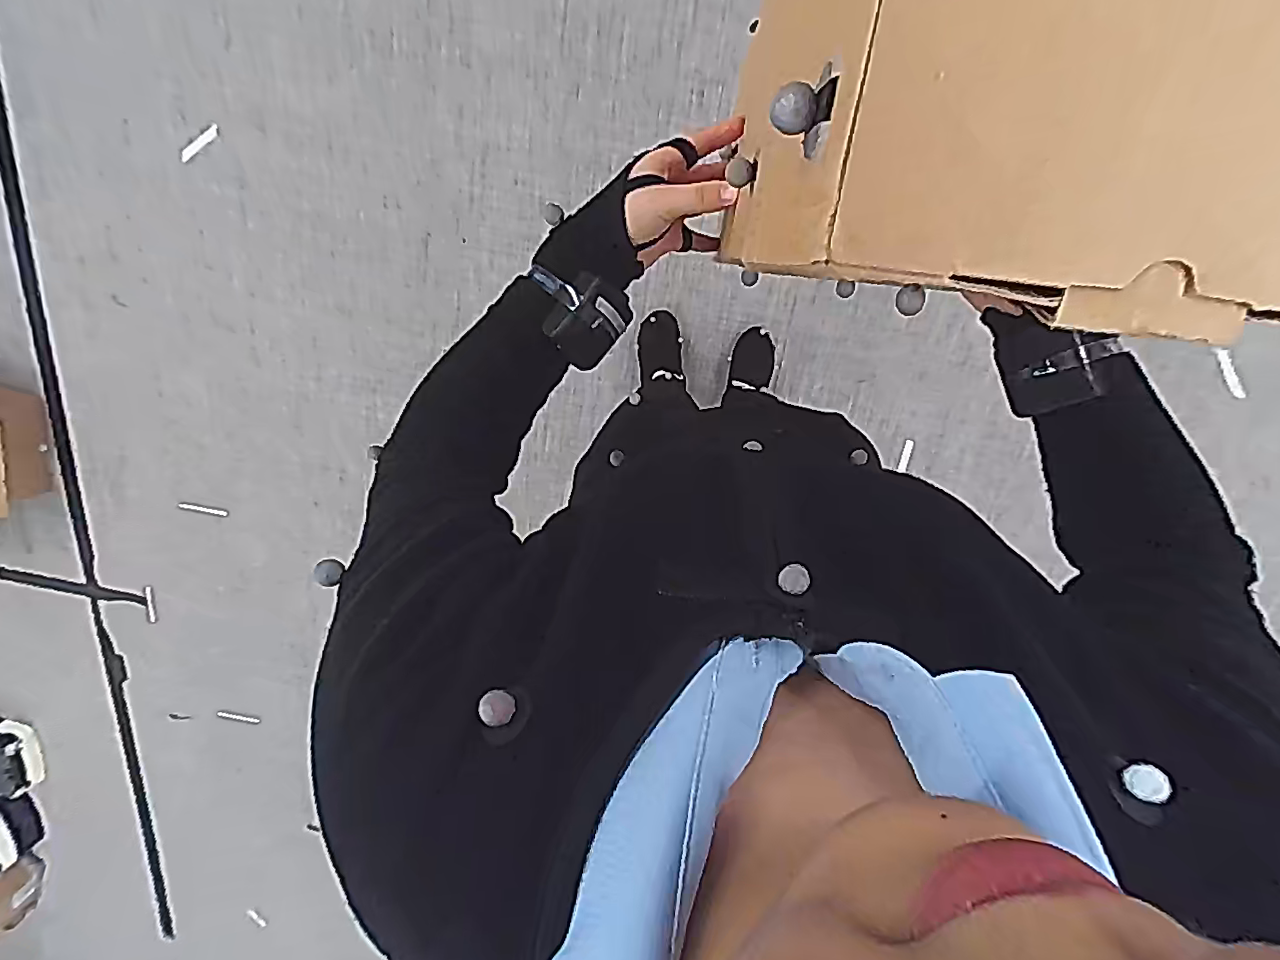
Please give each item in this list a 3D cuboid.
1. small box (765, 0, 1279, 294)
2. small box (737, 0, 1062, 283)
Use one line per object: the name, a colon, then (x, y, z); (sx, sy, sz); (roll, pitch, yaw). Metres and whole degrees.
small box: (0.144, -0.160, 0.168); (0.168, 0.176, 0.179); (6, 113, 1)
small box: (0.157, -0.220, 0.319); (0.168, 0.176, 0.179); (6, 112, 0)
